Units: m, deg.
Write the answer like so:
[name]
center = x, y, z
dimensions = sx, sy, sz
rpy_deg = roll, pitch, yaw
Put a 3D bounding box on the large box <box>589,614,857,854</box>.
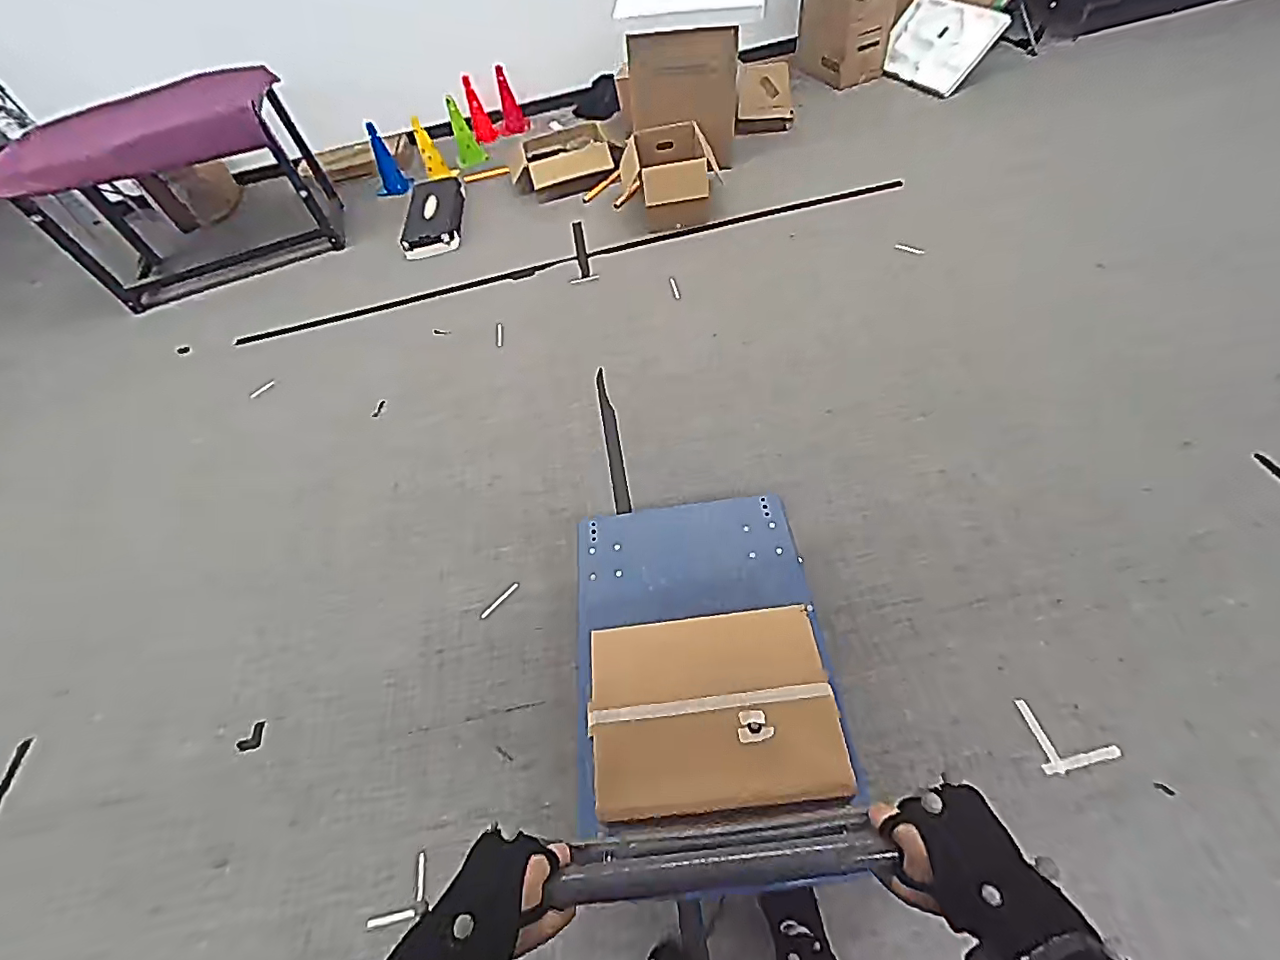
[large box]
center = 0.132, 0.484, 1.016
dimensions = 0.408, 0.320, 0.320
rpy_deg = -8, 52, 2
